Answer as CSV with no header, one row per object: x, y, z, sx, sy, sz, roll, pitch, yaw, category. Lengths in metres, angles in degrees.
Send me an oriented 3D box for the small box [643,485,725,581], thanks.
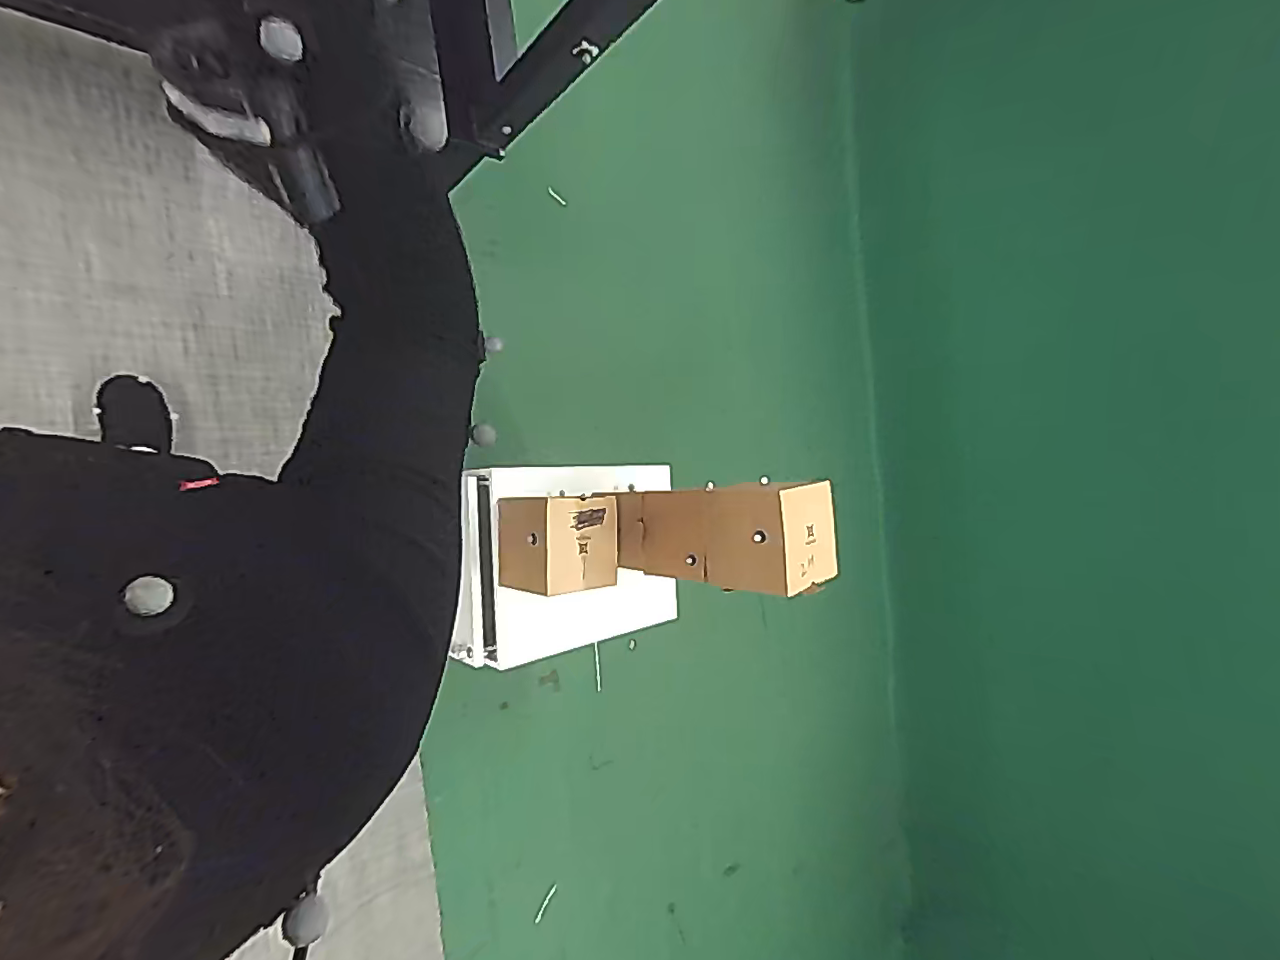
0.120,0.102,1.090,0.168,0.176,0.179,2,88,-44,small box

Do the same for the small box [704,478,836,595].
0.229,0.093,0.966,0.168,0.176,0.179,-8,95,-43,small box

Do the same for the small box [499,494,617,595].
-0.160,0.117,1.044,0.168,0.176,0.179,1,88,-45,small box
